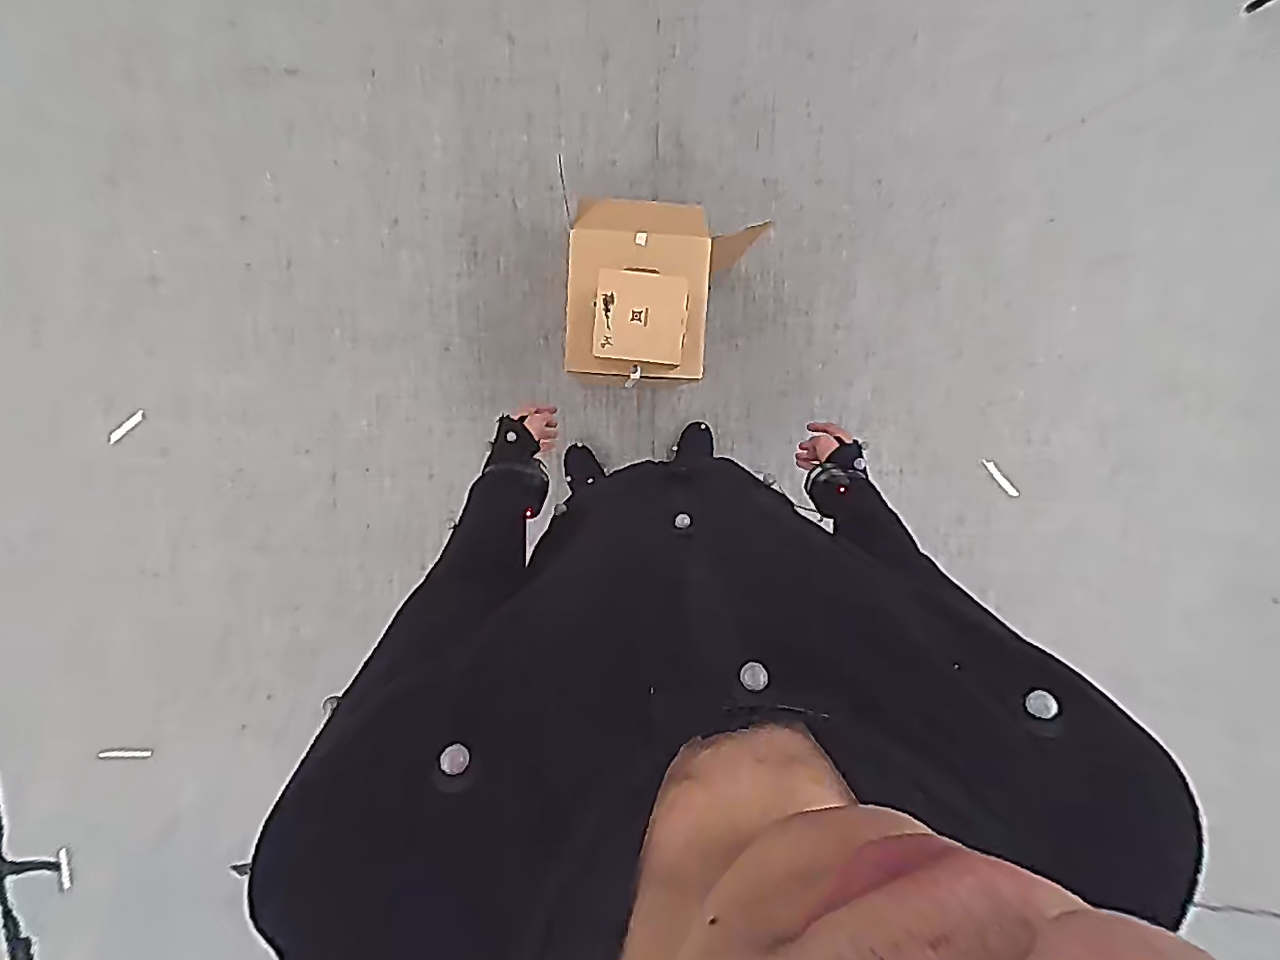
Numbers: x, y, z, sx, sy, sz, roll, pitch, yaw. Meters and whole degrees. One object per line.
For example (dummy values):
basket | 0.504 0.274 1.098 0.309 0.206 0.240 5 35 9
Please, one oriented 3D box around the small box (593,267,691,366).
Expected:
small box | -0.001 -0.330 1.125 0.179 0.176 0.168 6 98 -4
